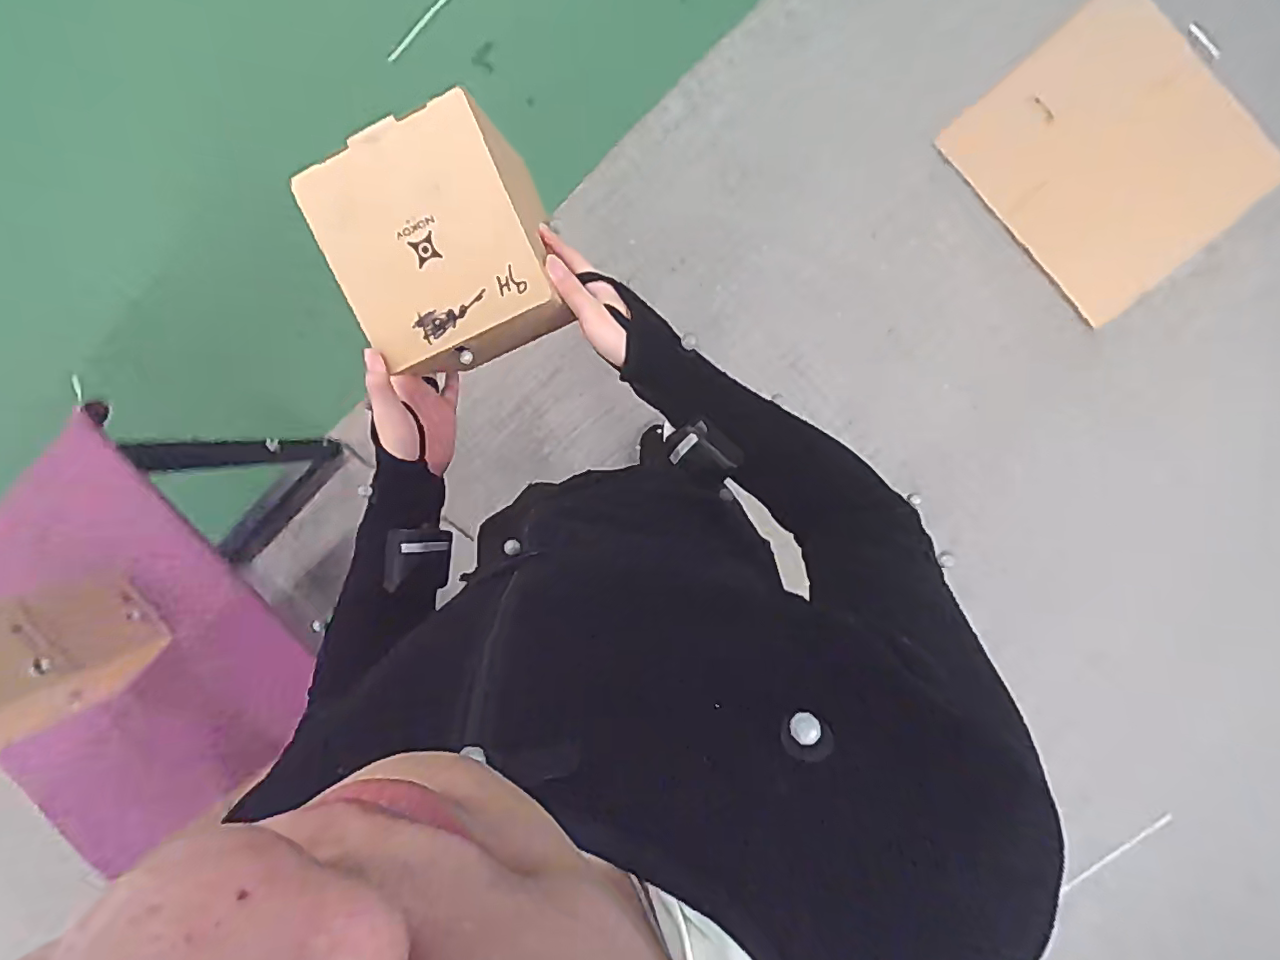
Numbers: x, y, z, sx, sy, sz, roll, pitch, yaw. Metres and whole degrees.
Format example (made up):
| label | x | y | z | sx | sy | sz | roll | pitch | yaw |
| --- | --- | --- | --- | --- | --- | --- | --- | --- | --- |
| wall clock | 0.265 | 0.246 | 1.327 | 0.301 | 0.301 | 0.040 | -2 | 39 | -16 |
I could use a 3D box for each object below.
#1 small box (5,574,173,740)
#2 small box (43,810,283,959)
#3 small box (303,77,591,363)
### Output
| label | x | y | z | sx | sy | sz | roll | pitch | yaw |
| --- | --- | --- | --- | --- | --- | --- | --- | --- | --- |
| small box | -0.970 | 0.290 | 0.922 | 0.179 | 0.176 | 0.168 | -41 | 92 | 8 |
| small box | -0.648 | 0.615 | 0.754 | 0.168 | 0.176 | 0.179 | 45 | 97 | 1 |
| small box | -0.163 | -0.221 | 0.518 | 0.168 | 0.176 | 0.179 | -21 | 99 | 9 |
